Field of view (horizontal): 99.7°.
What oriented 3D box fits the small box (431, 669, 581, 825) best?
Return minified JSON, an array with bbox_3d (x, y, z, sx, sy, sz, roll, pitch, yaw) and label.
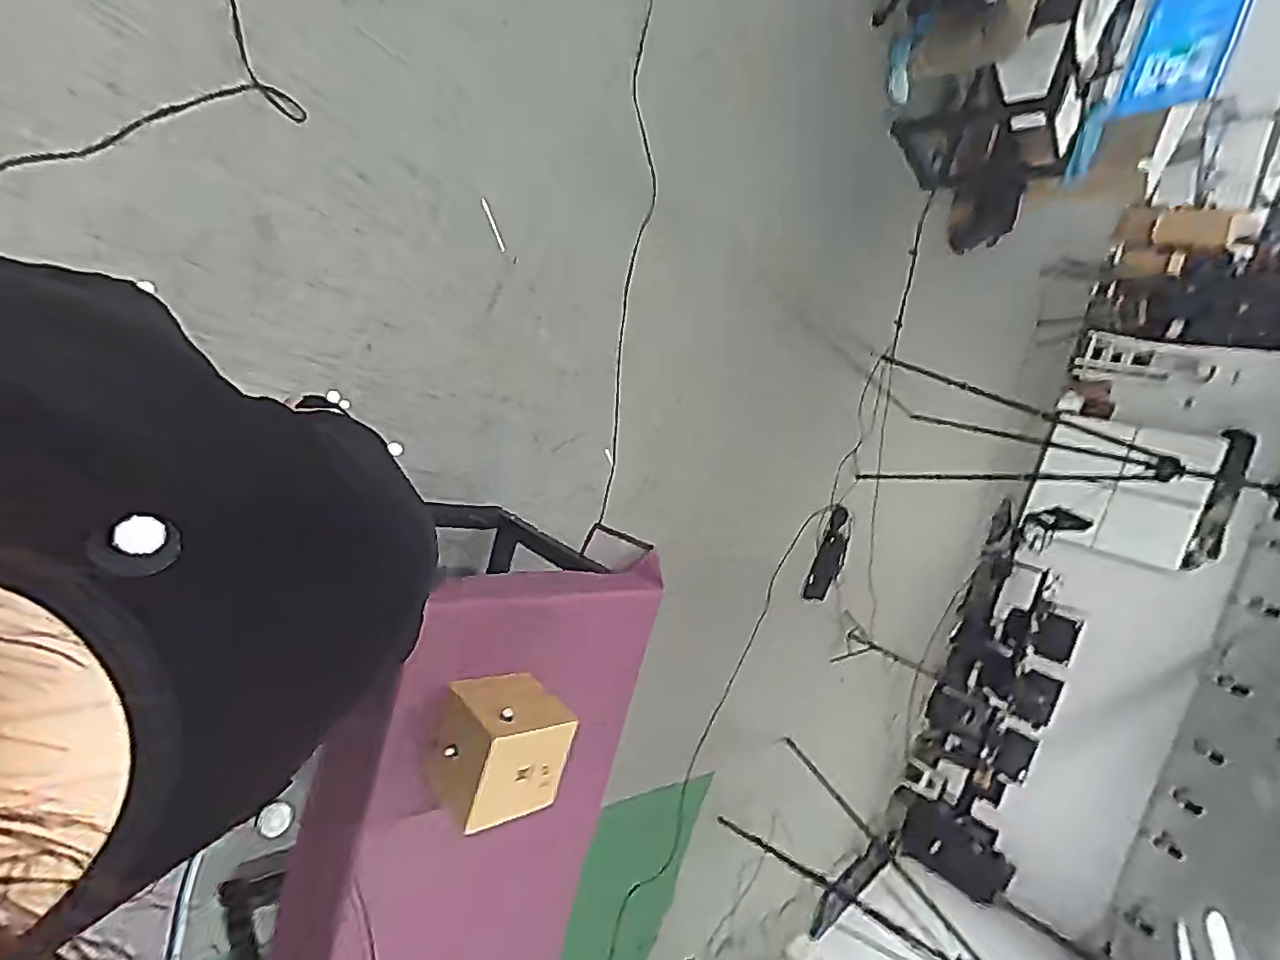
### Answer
[{"bbox_3d":[-0.240,0.454,0.952,0.179,0.176,0.168,13,97,-47],"label":"small box"}]
